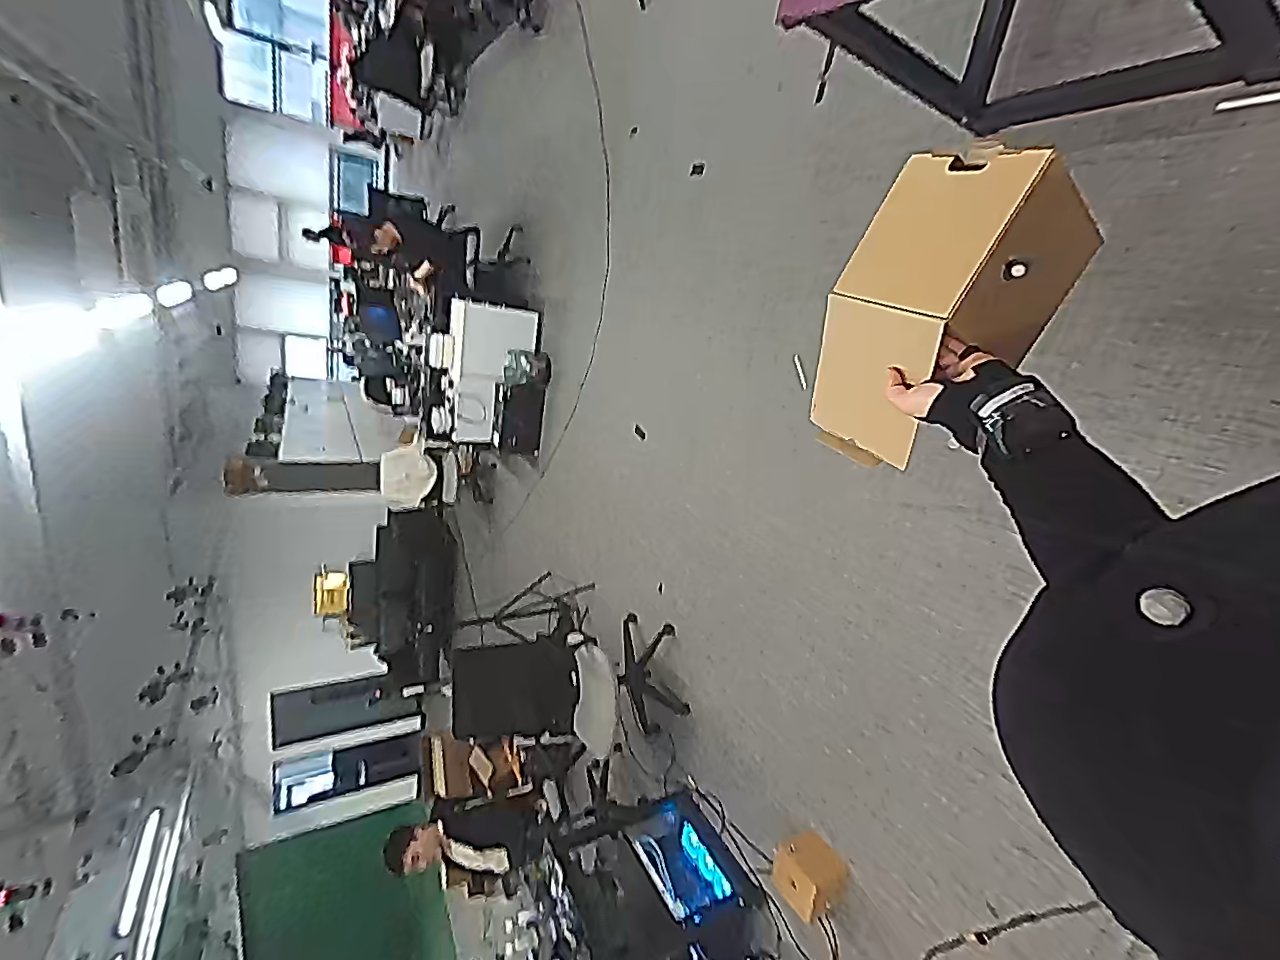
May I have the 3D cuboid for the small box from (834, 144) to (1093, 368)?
[{"bbox_3d":[0.373,-0.254,0.629,0.179,0.176,0.168,-61,37,14],"label":"small box"}]
